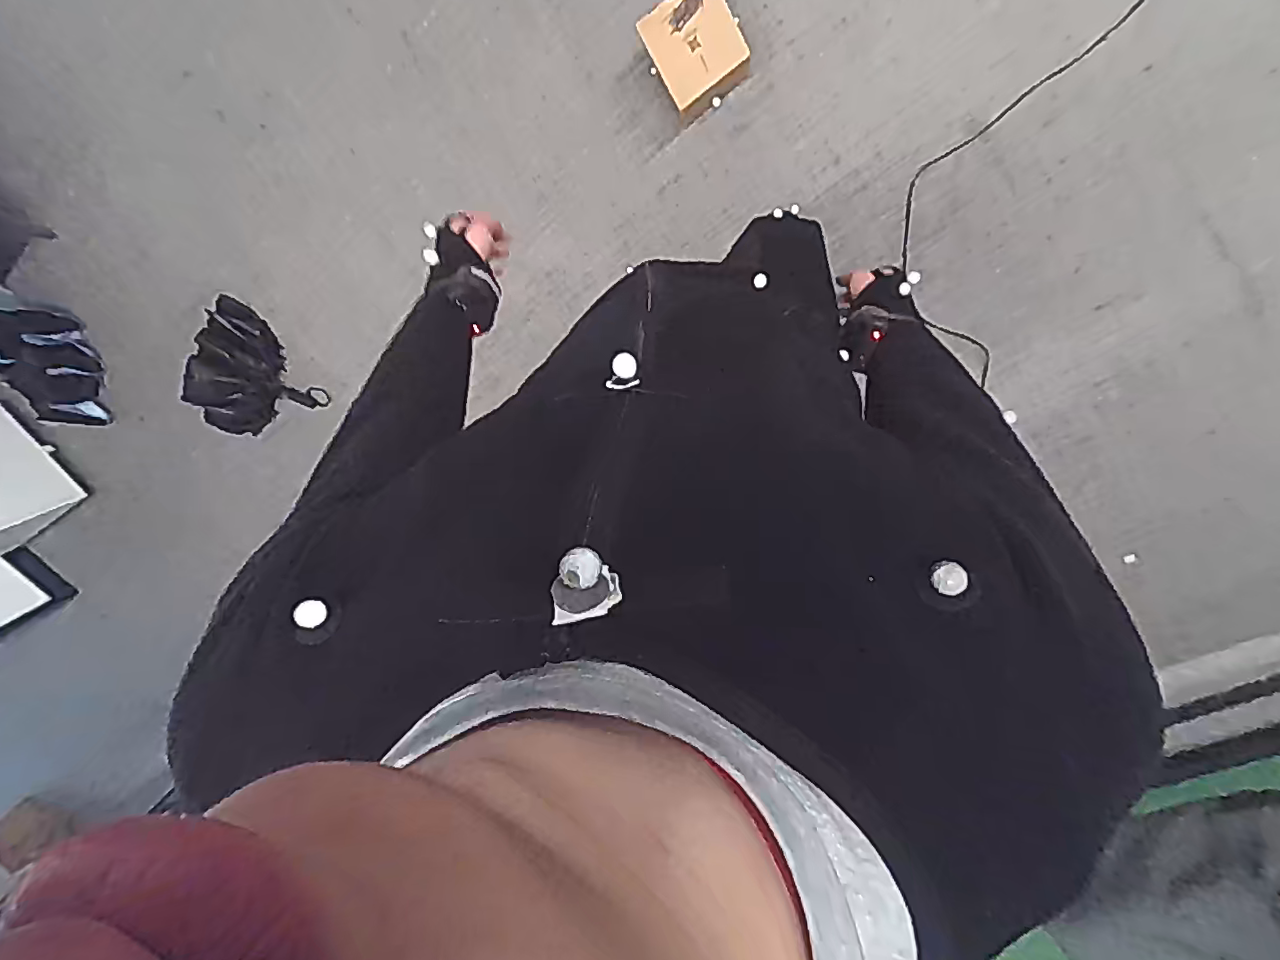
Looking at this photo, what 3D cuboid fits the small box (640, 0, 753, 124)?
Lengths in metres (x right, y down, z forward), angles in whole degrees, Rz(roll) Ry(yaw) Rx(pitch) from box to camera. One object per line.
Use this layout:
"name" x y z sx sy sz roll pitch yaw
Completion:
"small box" 0.124 -0.894 1.142 0.168 0.176 0.179 -28 108 22
